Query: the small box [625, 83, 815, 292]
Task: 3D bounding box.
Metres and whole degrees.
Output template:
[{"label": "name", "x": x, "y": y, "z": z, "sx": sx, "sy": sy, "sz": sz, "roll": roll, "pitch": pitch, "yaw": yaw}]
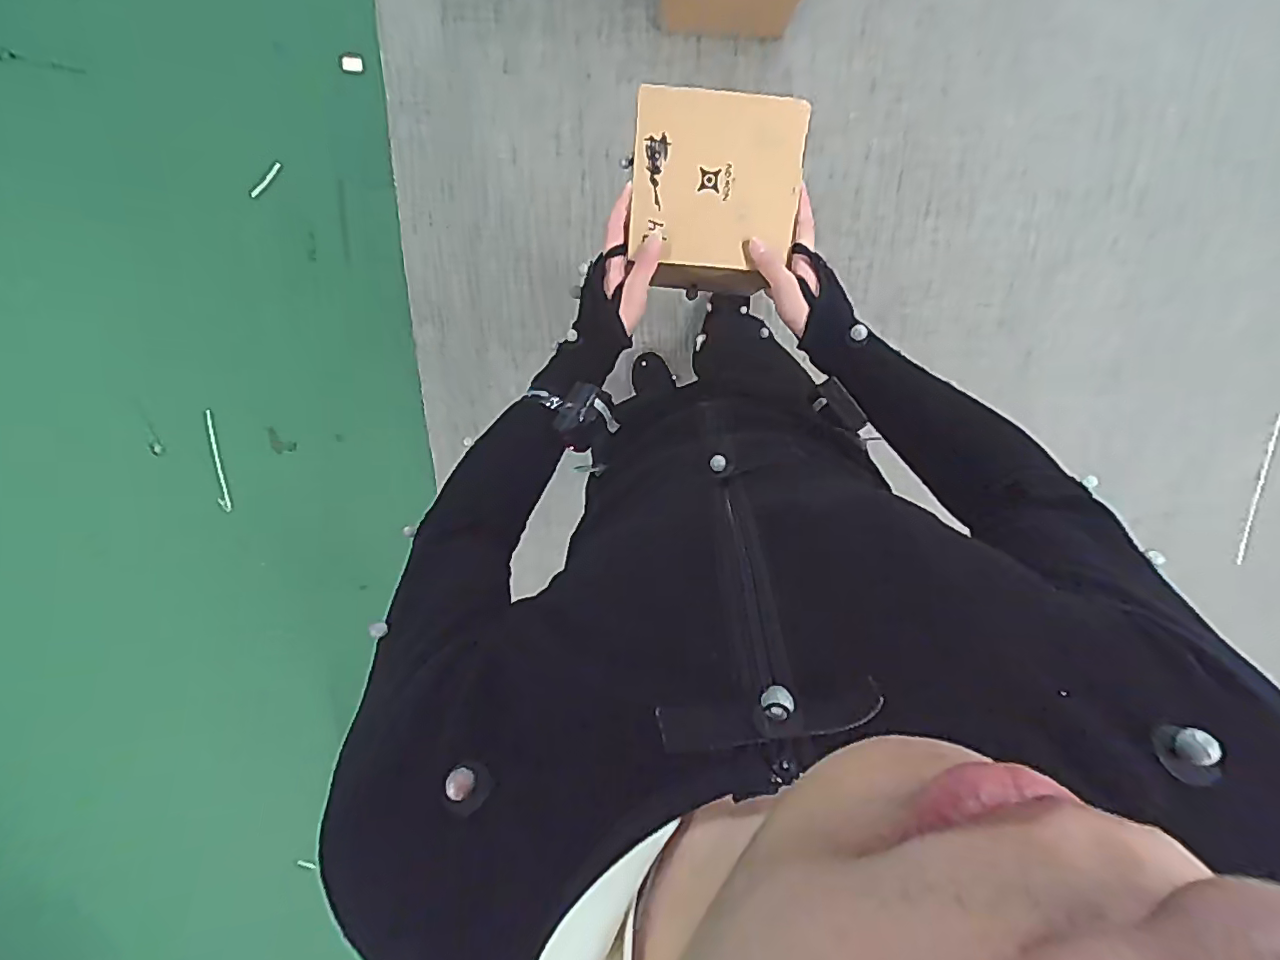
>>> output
[{"label": "small box", "x": 0.078, "y": -0.318, "z": 0.627, "sx": 0.179, "sy": 0.176, "sz": 0.168, "roll": 4, "pitch": 101, "yaw": -4}]
